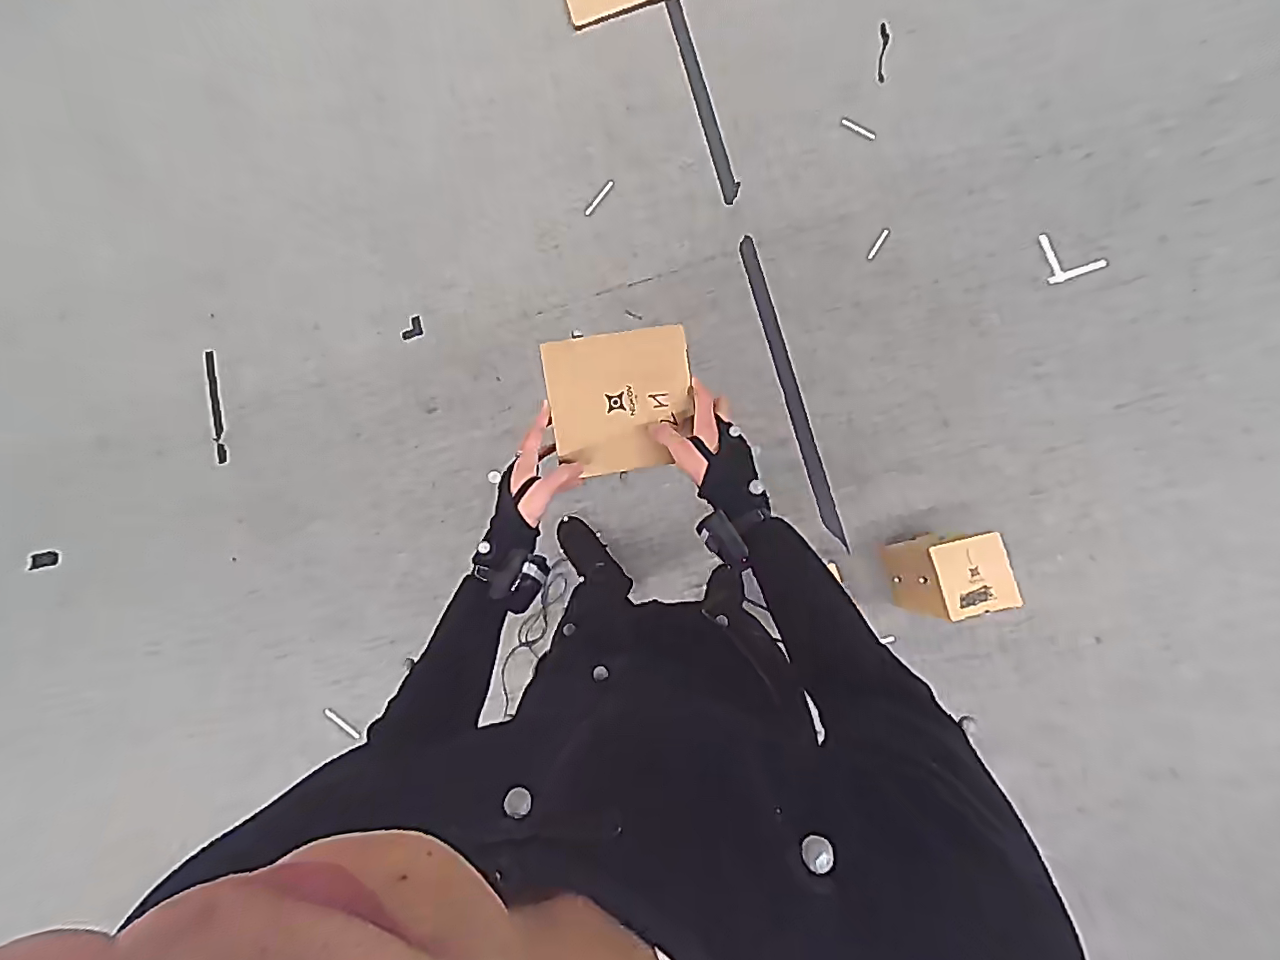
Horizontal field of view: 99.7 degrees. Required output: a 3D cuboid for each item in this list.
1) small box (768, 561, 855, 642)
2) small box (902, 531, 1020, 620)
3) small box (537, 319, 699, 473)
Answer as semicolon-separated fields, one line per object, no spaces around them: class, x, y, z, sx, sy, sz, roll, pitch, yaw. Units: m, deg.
small box;0.467;0.331;1.503;0.168;0.176;0.179;-18;82;3
small box;0.772;0.227;1.320;0.168;0.176;0.179;-14;81;3
small box;-0.029;-0.105;0.722;0.179;0.176;0.168;-9;96;-3
